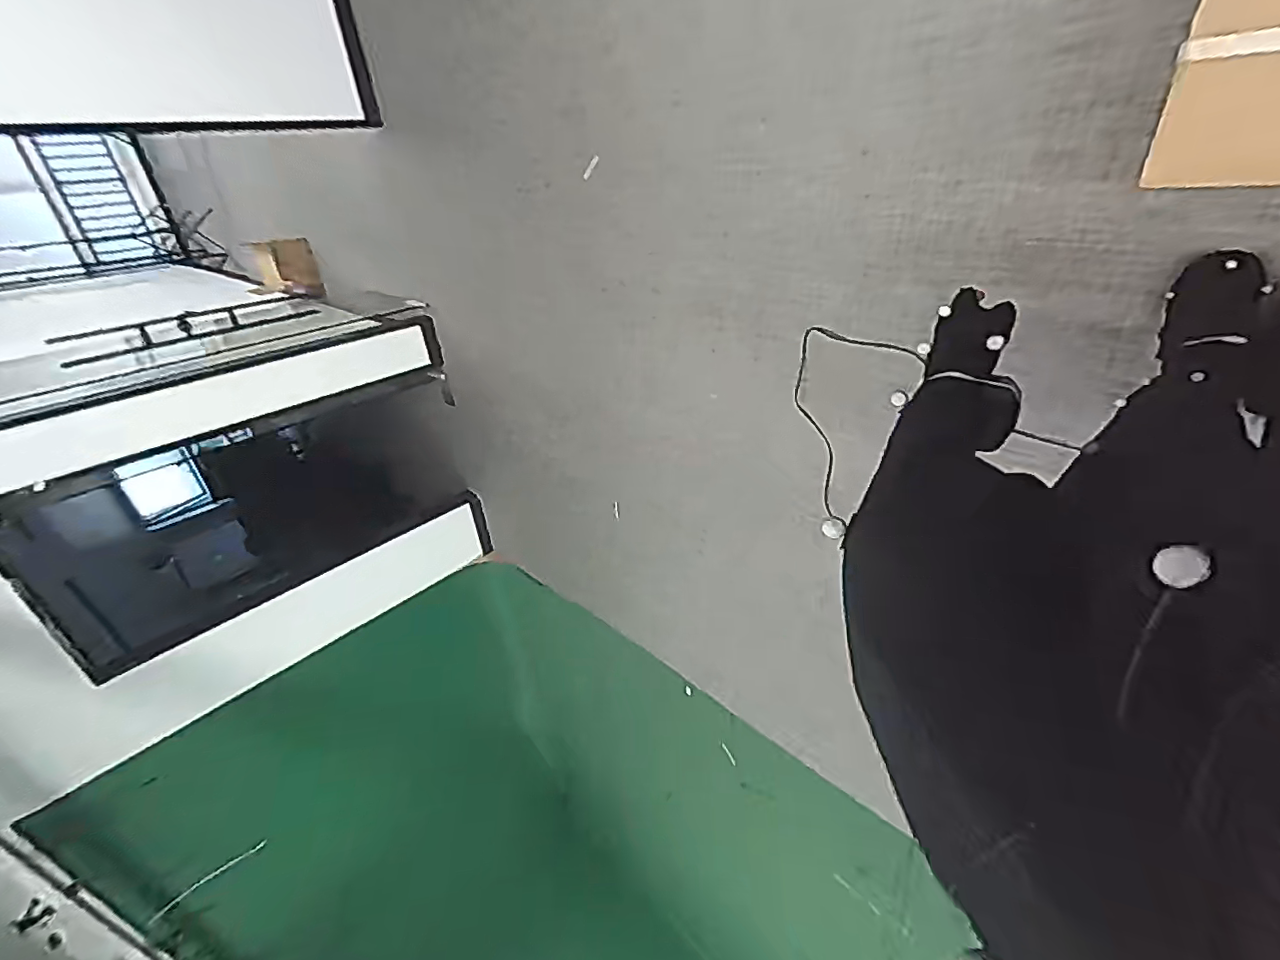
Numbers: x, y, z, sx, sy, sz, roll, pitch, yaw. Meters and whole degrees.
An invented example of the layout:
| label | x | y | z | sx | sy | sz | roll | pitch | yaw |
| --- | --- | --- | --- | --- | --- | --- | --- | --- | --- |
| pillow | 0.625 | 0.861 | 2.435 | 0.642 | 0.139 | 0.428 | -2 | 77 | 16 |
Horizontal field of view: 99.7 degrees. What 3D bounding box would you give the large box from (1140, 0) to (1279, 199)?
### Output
| label | x | y | z | sx | sy | sz | roll | pitch | yaw |
| --- | --- | --- | --- | --- | --- | --- | --- | --- | --- |
| large box | 0.944 | -0.534 | 0.666 | 0.408 | 0.320 | 0.320 | 23 | 129 | 38 |
